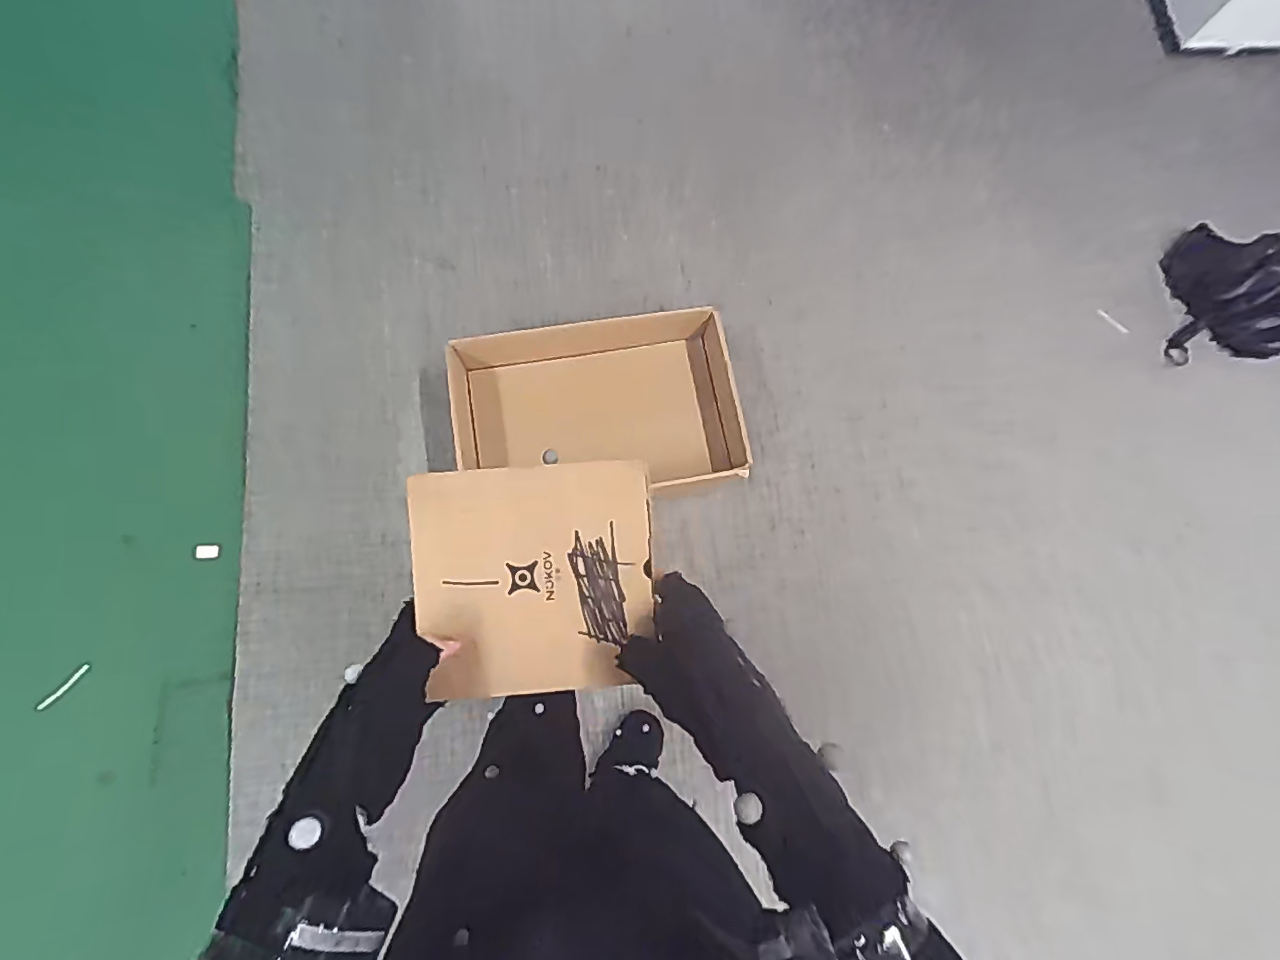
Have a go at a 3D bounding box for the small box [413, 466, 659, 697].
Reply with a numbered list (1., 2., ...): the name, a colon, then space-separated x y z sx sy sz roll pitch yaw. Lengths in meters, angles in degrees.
1. small box: -0.080 0.076 0.485 0.179 0.176 0.168 -5 88 -1
